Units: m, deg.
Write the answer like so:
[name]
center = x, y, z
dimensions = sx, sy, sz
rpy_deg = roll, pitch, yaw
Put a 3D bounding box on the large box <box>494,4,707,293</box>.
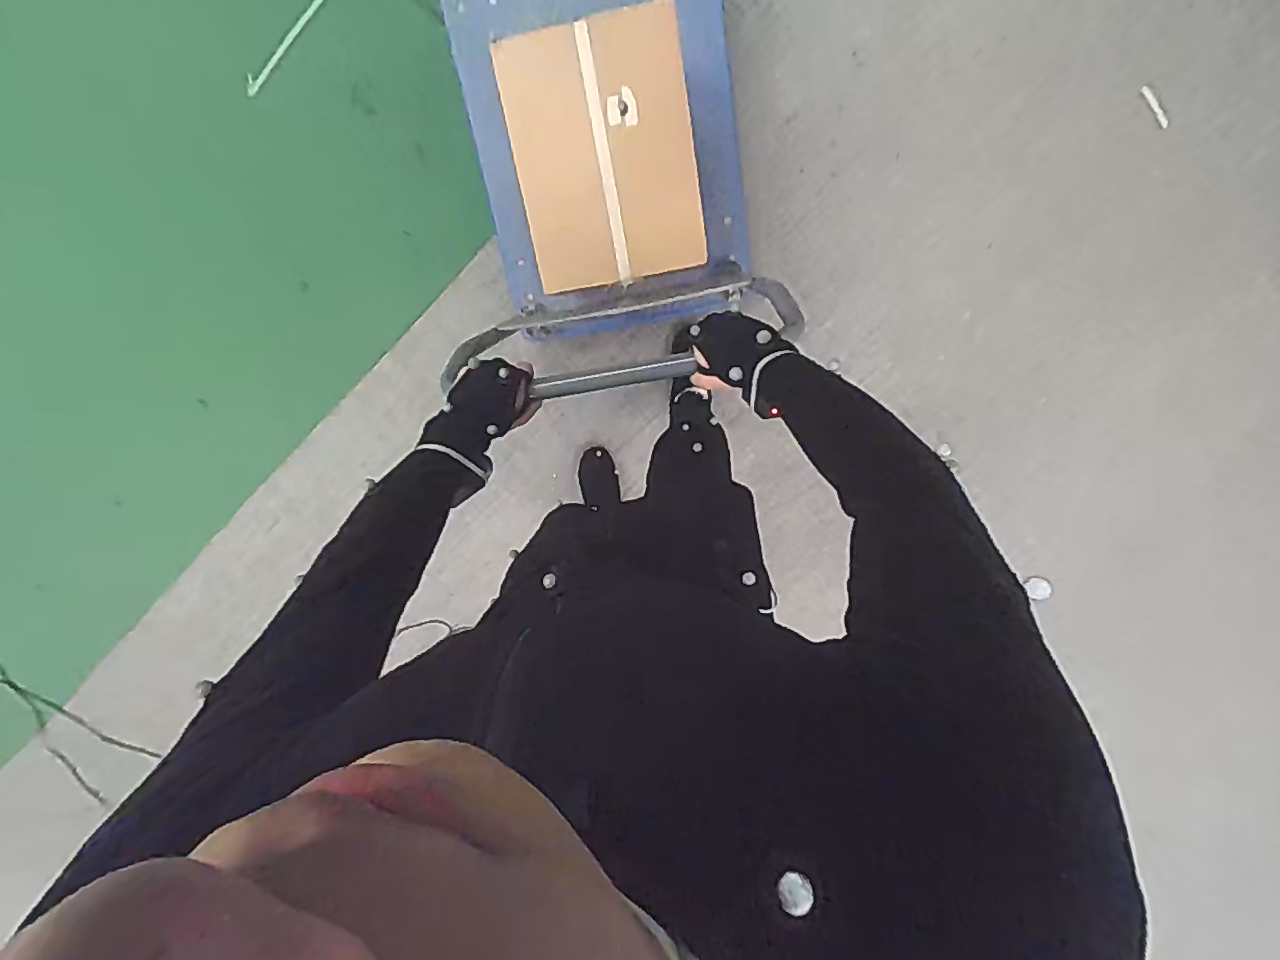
[large box]
center = -0.052, -0.616, 1.095
dimensions = 0.320, 0.320, 0.408
rpy_deg = -8, 109, 6
